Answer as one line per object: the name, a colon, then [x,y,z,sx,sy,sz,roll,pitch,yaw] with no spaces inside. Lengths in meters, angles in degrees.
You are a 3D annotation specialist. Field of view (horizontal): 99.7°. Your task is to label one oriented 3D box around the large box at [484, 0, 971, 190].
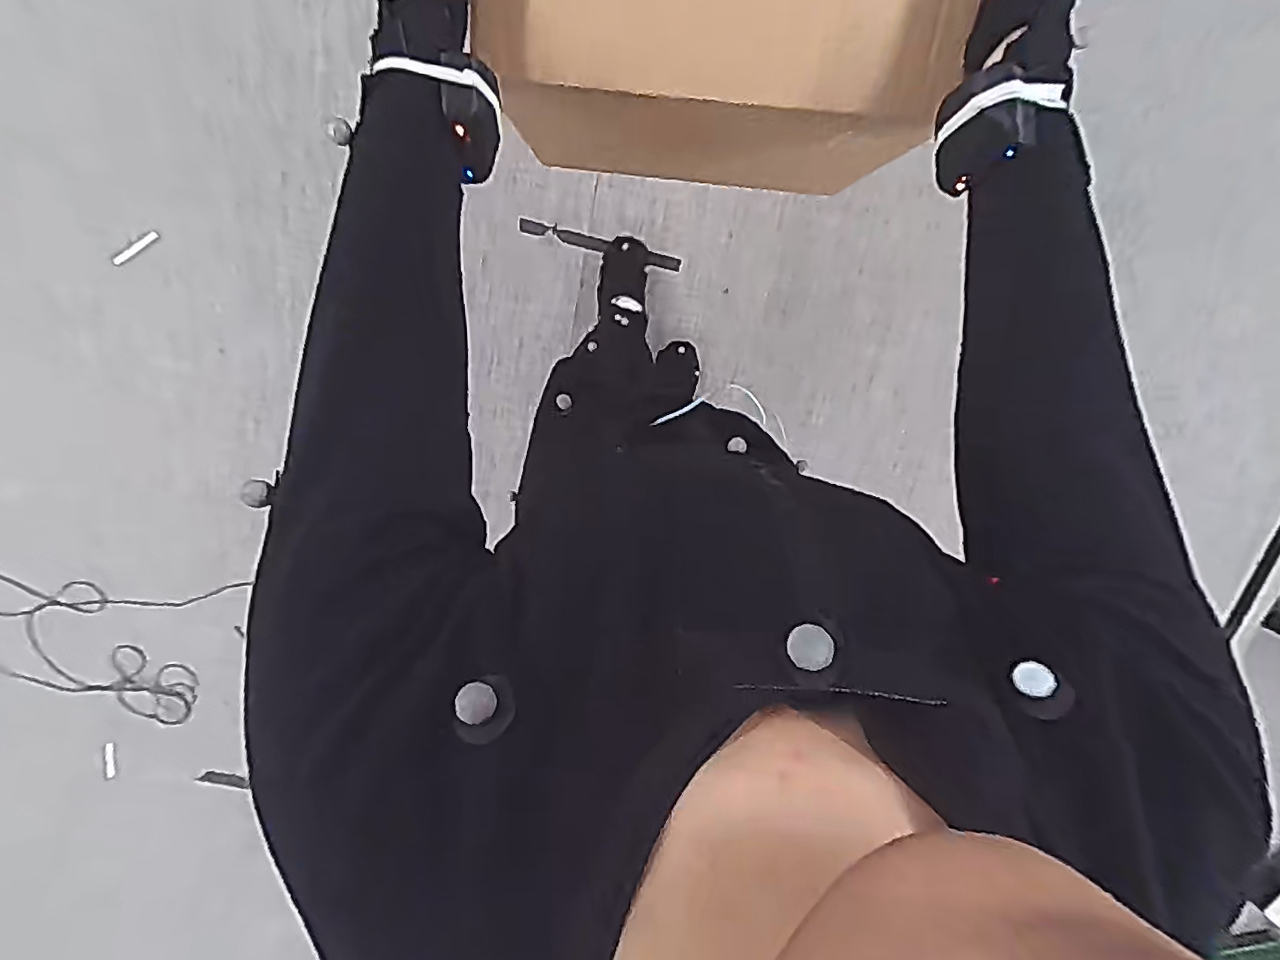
large box: [0.077,-0.515,0.556,0.408,0.320,0.320,5,108,-2]
